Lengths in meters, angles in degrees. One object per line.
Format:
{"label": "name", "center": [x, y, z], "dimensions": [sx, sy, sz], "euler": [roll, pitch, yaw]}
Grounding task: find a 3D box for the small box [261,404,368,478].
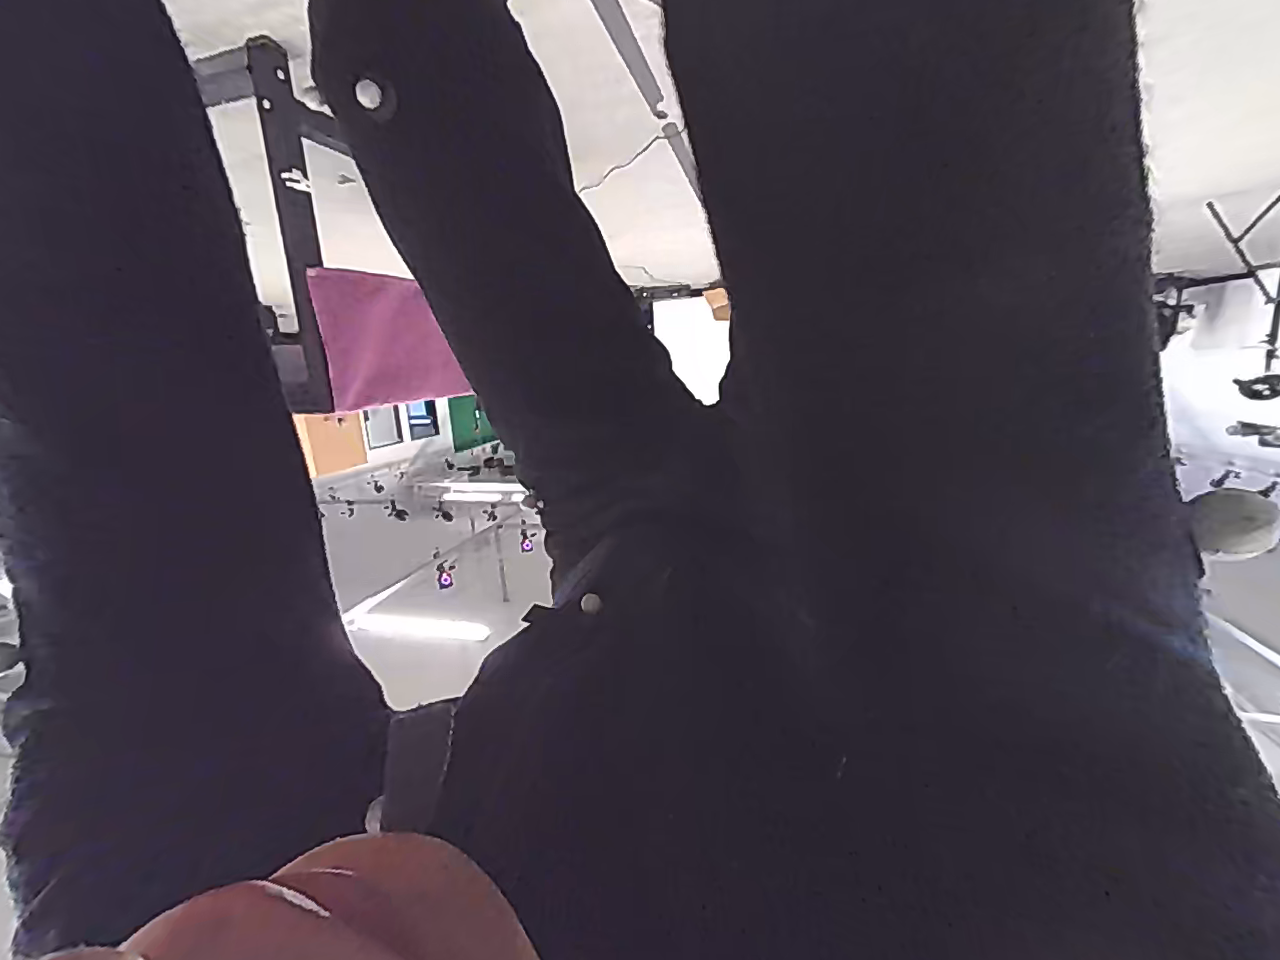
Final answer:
{"label": "small box", "center": [-0.845, -0.106, 1.404], "dimensions": [0.179, 0.176, 0.168], "euler": [1, -165, 19]}
